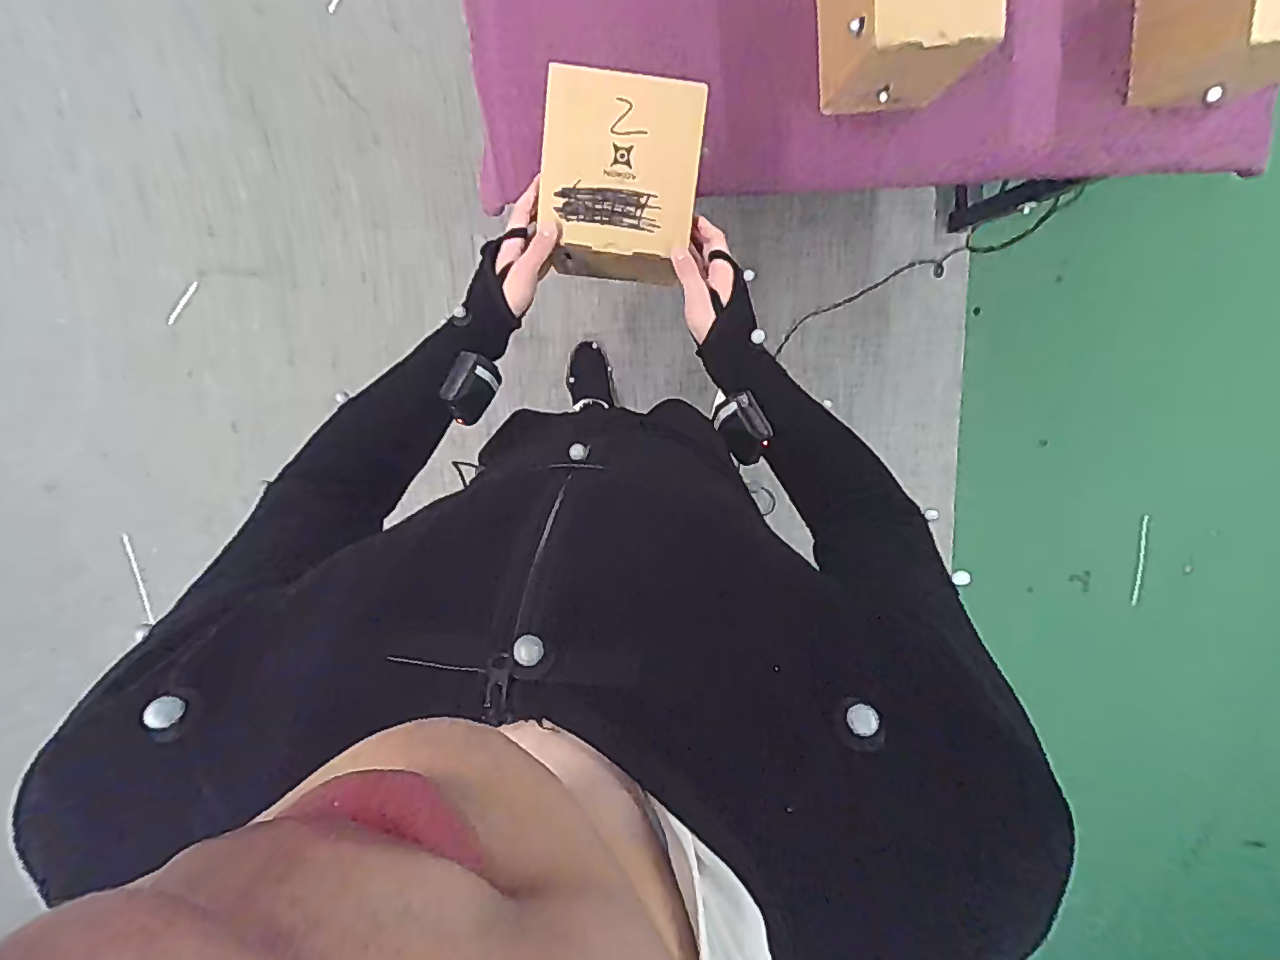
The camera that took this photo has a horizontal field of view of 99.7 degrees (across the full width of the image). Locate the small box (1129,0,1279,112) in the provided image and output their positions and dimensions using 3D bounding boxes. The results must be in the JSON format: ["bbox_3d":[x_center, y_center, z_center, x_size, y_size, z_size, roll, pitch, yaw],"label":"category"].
[{"bbox_3d":[0.825,-0.641,0.738,0.168,0.176,0.179,-4,101,-2],"label":"small box"}]

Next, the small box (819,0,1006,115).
[{"bbox_3d":[0.348,-0.620,0.715,0.168,0.176,0.179,-6,102,-3],"label":"small box"}]
